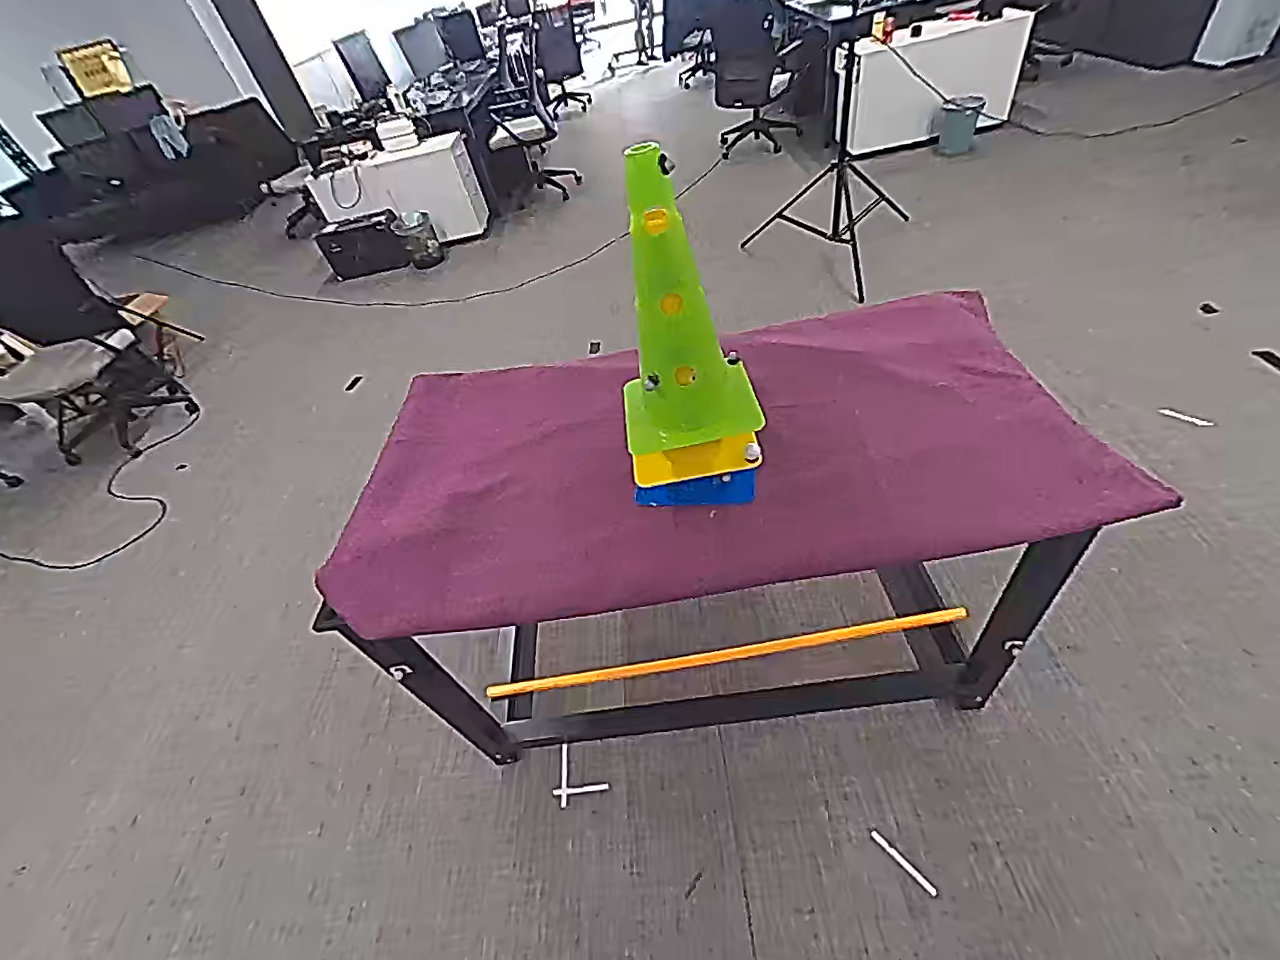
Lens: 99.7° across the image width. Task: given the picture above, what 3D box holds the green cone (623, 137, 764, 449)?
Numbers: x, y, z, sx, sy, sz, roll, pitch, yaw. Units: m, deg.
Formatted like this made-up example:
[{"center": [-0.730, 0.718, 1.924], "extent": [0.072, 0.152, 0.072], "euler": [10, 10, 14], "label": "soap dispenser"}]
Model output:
[{"center": [0.036, -0.248, 0.721], "extent": [0.200, 0.368, 0.202], "euler": [-13, 43, 5], "label": "green cone"}]
